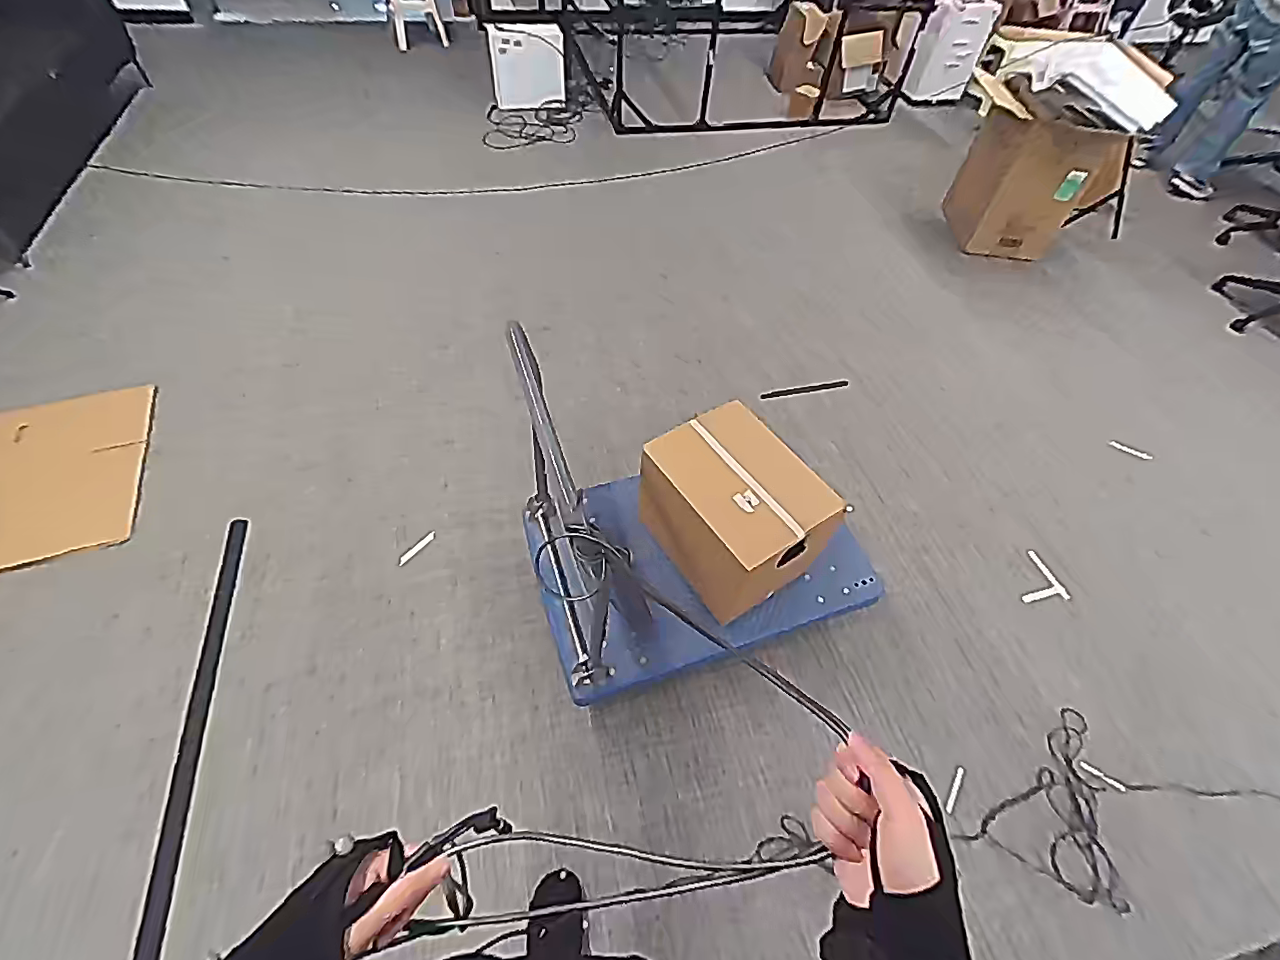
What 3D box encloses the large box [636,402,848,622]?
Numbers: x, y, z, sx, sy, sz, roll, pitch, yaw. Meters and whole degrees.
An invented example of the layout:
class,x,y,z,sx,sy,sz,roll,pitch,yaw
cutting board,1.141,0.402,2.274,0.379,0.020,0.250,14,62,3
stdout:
class,x,y,z,sx,sy,sz,roll,pitch,yaw
large box,0.231,0.078,1.388,0.320,0.320,0.408,-28,61,-21
